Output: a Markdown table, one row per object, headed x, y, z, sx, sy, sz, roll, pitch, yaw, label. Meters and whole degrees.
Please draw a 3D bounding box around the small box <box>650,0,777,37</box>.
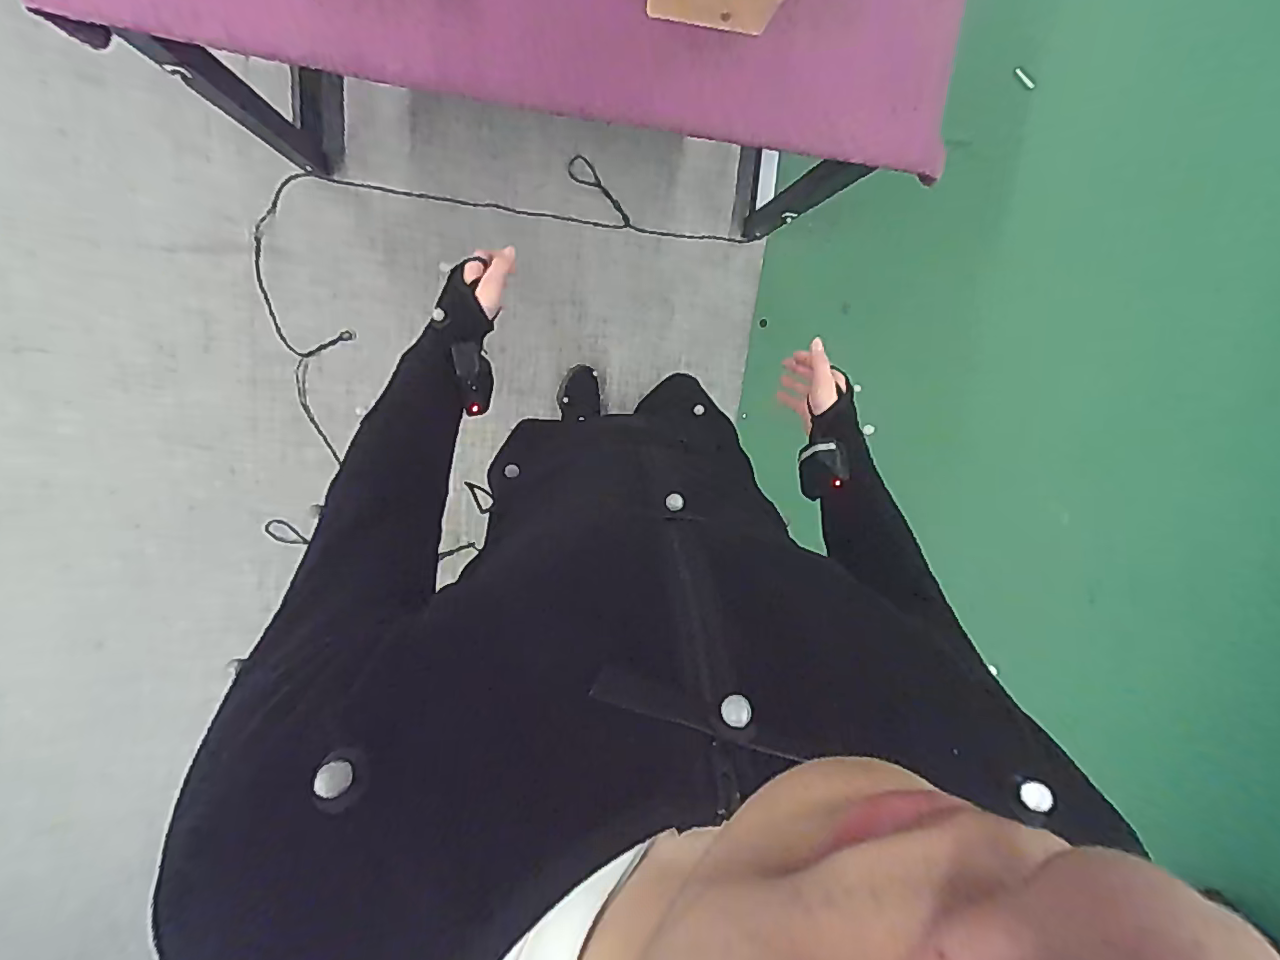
| x | y | z | sx | sy | sz | roll | pitch | yaw | label |
| --- | --- | --- | --- | --- | --- | --- | --- | --- | --- |
| 0.105 | -0.692 | 0.660 | 0.168 | 0.176 | 0.179 | 3 | 101 | -8 | small box |
